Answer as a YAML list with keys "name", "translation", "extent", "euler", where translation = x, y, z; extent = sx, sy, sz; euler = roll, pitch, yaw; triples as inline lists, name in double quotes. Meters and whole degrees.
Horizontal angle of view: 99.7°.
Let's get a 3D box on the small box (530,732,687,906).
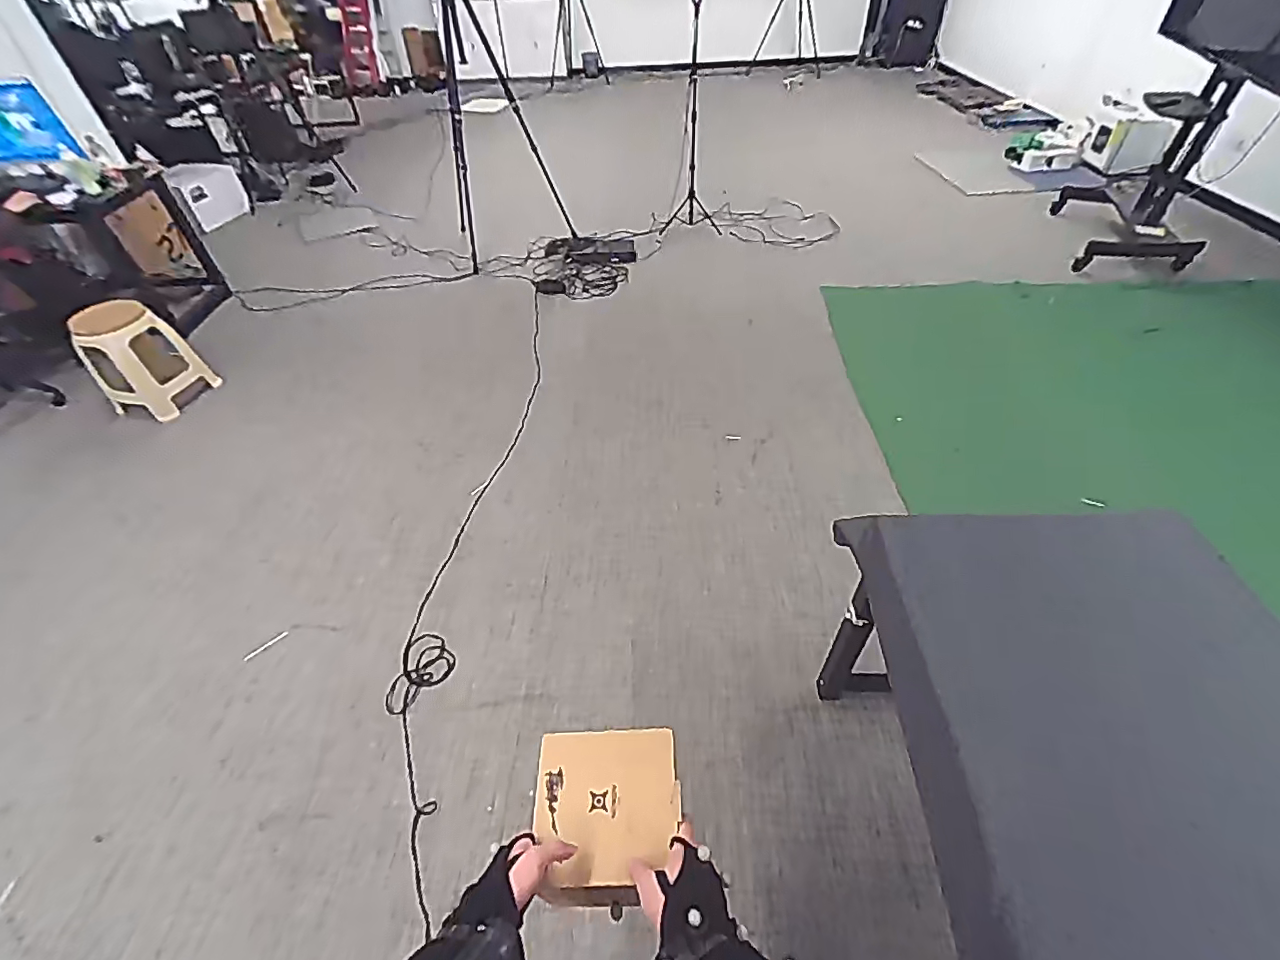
- name: "small box"
  translation: [-0.031, 0.443, 0.708]
  extent: [0.179, 0.176, 0.168]
  euler: [-3, 46, 3]
